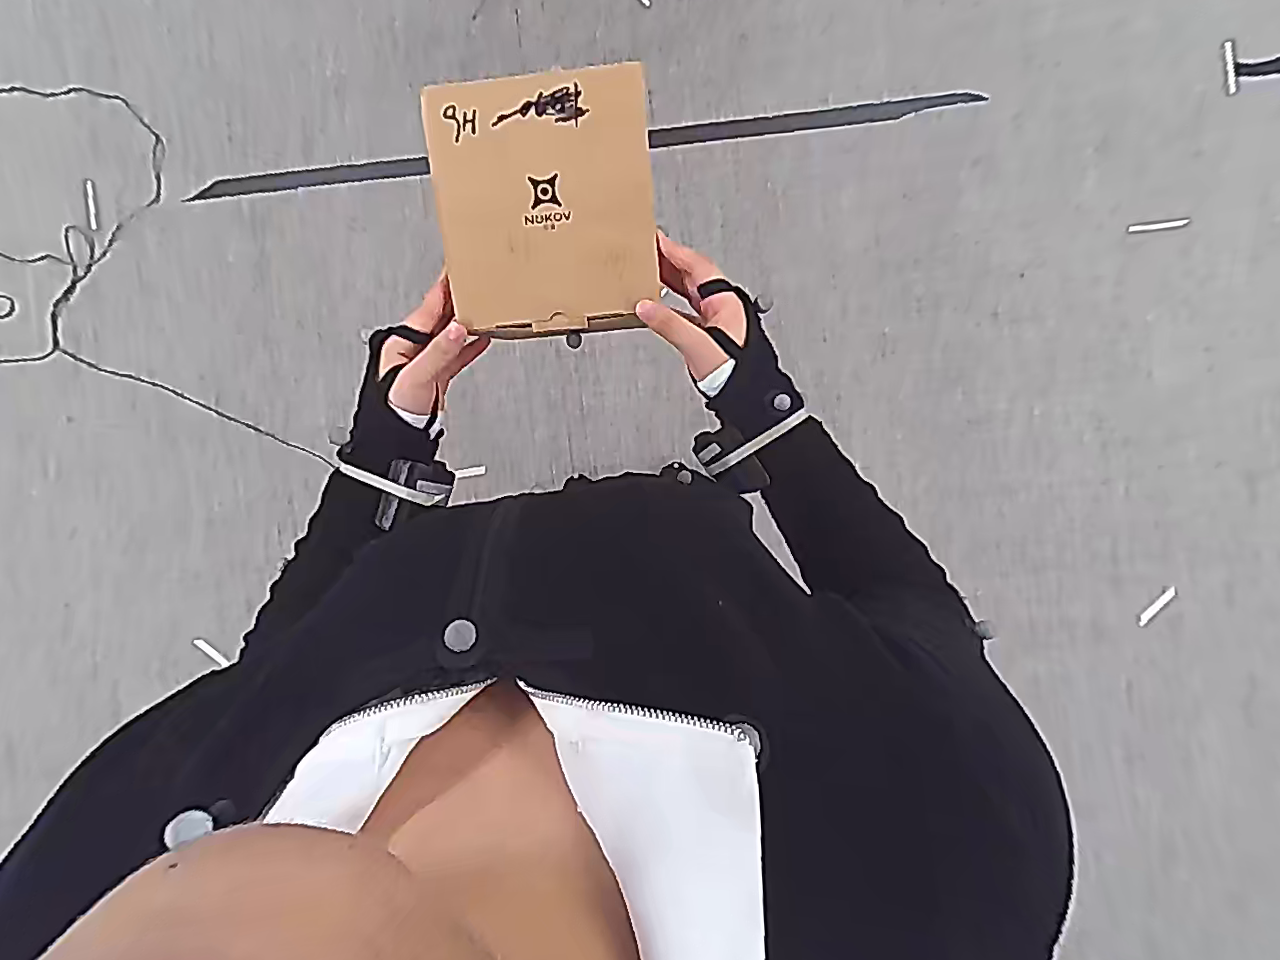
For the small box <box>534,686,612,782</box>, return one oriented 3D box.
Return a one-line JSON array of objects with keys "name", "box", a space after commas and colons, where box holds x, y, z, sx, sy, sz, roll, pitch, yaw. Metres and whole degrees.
[{"name": "small box", "box": [-0.159, 0.626, 1.331, 0.168, 0.176, 0.179, -3, 91, 2]}]
